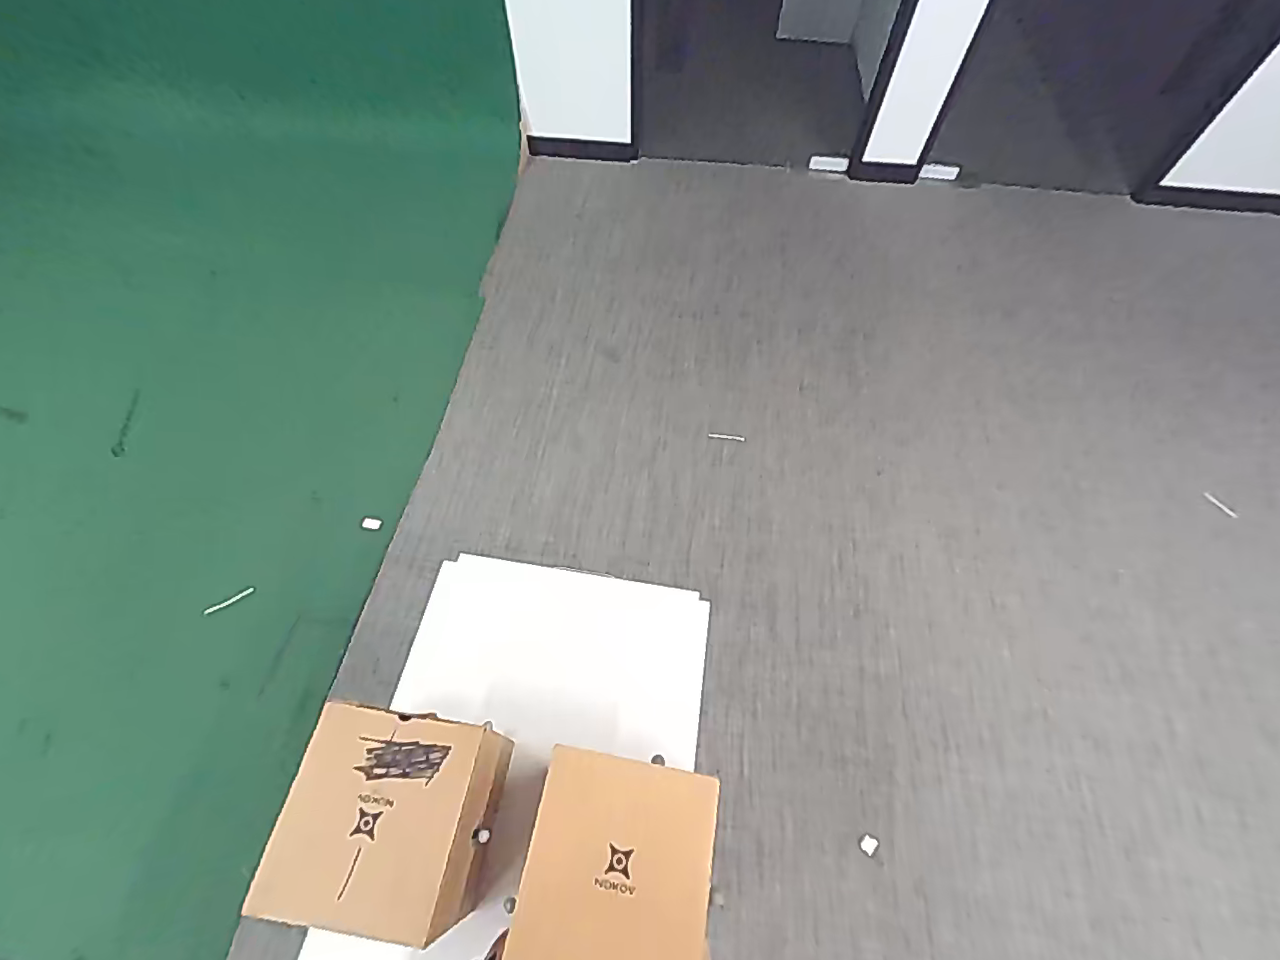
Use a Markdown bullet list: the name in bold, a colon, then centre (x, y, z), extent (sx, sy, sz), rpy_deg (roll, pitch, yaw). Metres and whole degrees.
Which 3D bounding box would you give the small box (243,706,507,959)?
- **small box**: centre (-0.249, 0.354, 0.566), extent (0.168, 0.176, 0.179), rpy_deg (9, 60, 4)

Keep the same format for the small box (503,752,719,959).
- **small box**: centre (-0.021, 0.394, 0.546), extent (0.168, 0.176, 0.179), rpy_deg (9, 59, 6)
